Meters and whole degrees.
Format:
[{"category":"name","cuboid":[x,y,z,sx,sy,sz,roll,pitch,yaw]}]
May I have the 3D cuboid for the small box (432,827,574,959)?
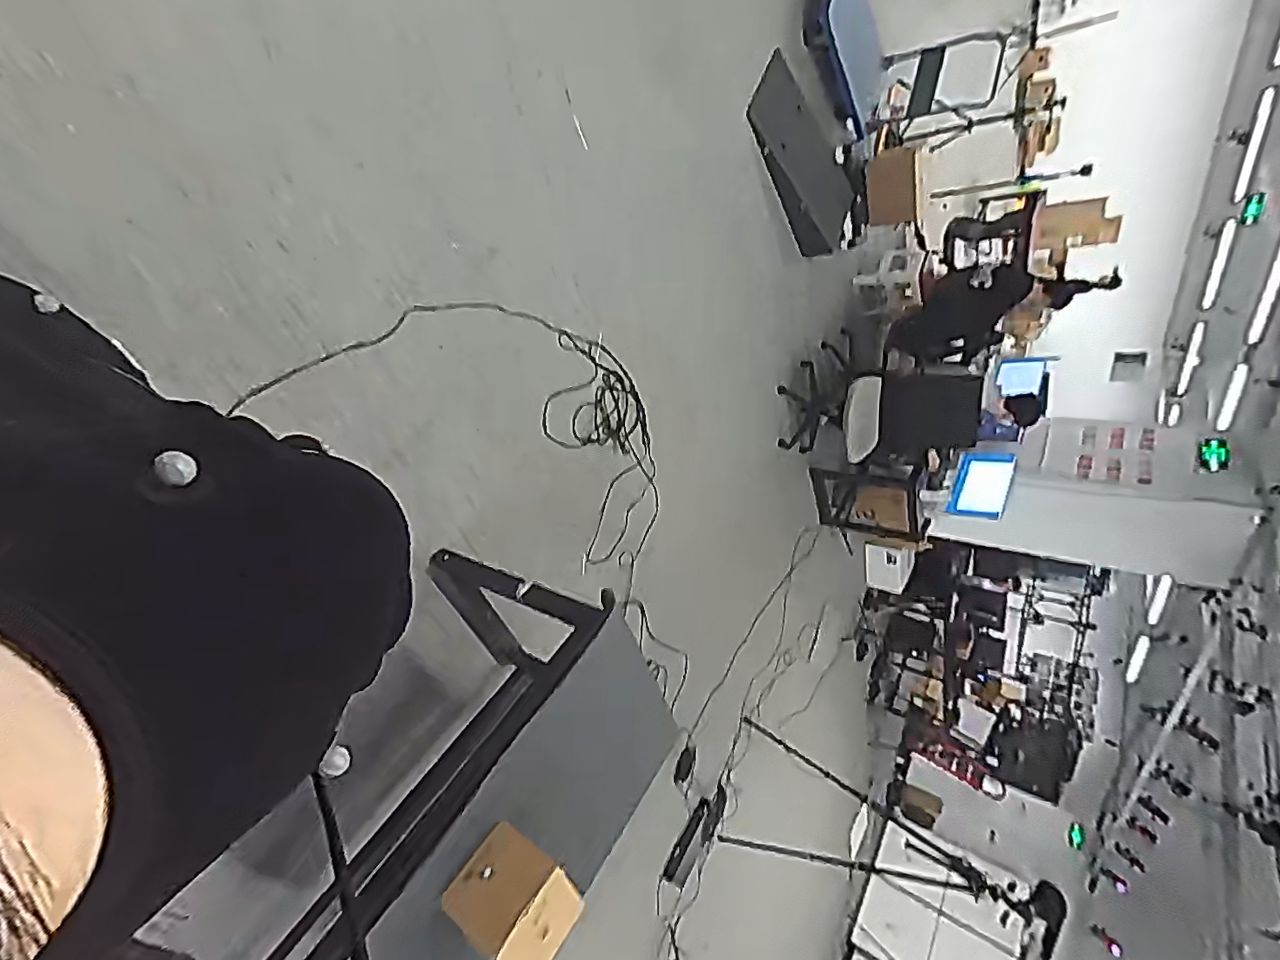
[{"category":"small box","cuboid":[-0.259,0.812,1.033,0.168,0.176,0.179,-44,131,-38]}]
